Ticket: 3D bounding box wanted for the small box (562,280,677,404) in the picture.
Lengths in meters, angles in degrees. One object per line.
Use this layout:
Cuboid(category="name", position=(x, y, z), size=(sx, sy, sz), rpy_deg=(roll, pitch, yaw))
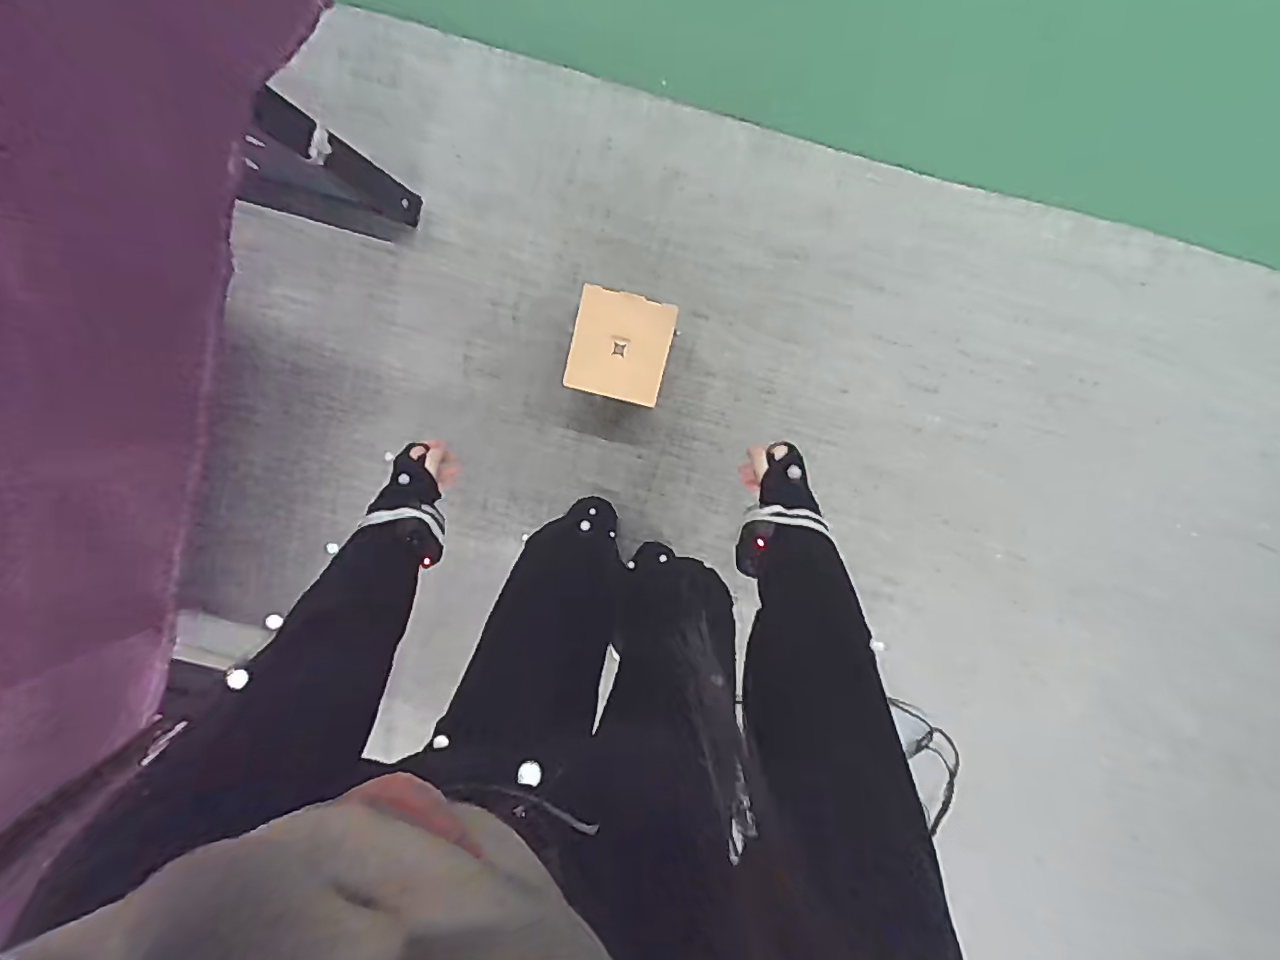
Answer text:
Cuboid(category="small box", position=(-0.034, -0.247, 0.991), size=(0.168, 0.176, 0.179), rpy_deg=(14, 102, -2))
